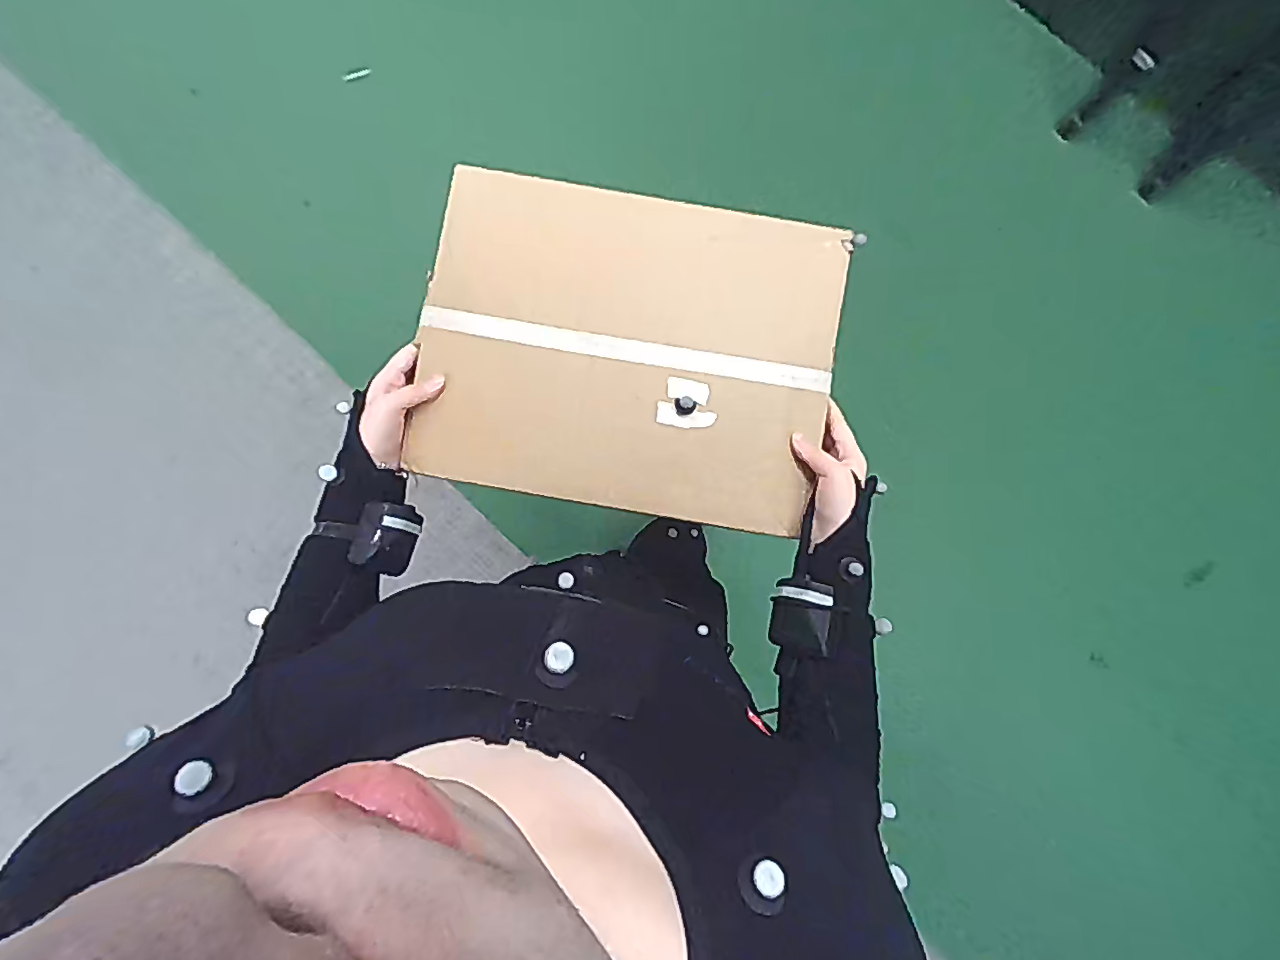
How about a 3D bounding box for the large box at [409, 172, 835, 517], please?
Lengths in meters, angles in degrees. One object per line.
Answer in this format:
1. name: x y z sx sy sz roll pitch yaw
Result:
1. large box: -0.019 -0.131 0.692 0.408 0.320 0.320 8 88 -1
